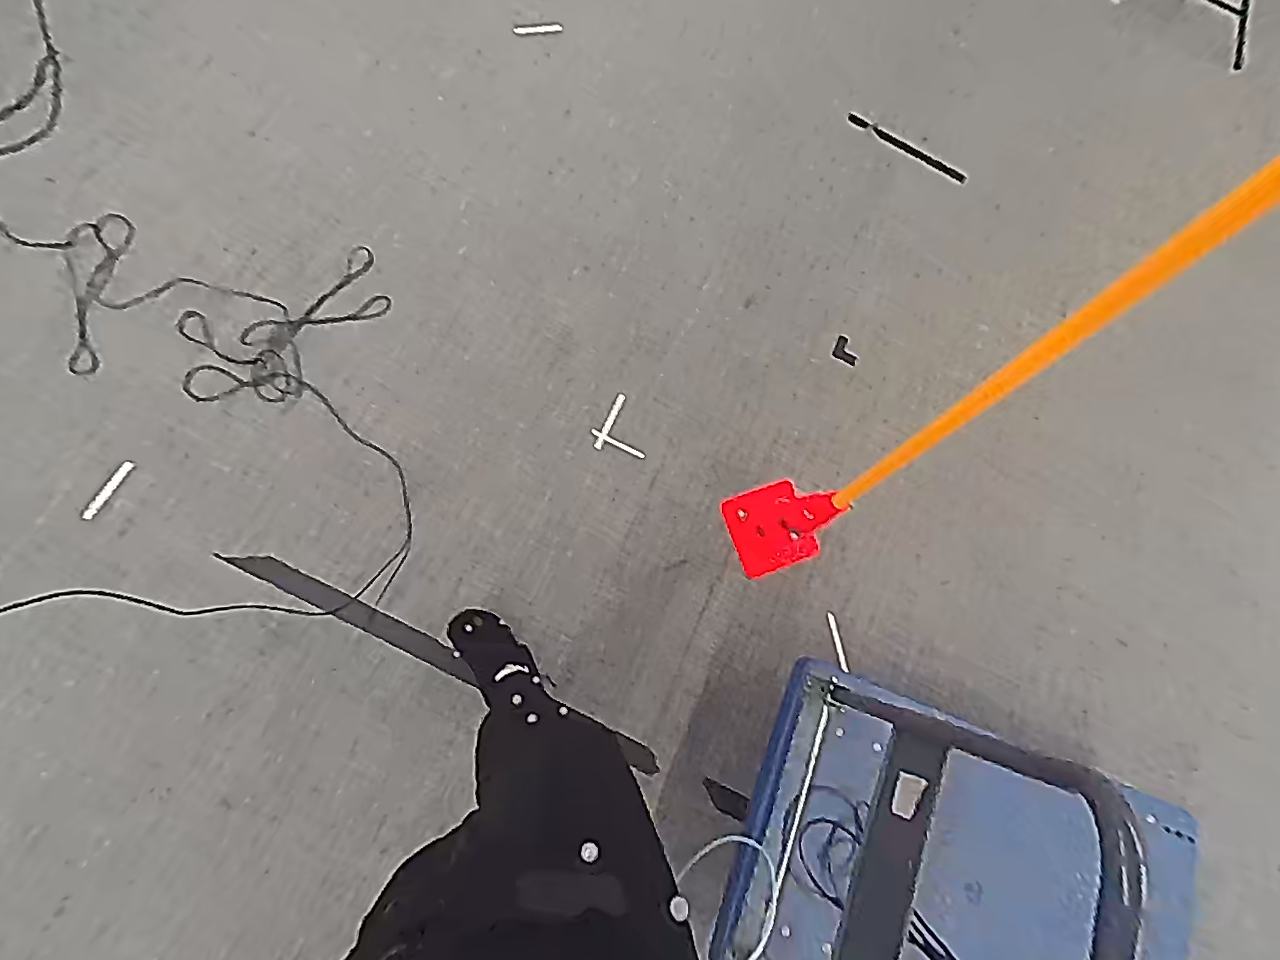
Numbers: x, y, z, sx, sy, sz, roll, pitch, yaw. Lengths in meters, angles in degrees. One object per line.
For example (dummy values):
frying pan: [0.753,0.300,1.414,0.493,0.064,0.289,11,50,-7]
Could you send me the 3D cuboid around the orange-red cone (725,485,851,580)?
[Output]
orange-red cone: [0.338,0.087,1.127,0.198,0.360,0.199,-17,81,-10]
